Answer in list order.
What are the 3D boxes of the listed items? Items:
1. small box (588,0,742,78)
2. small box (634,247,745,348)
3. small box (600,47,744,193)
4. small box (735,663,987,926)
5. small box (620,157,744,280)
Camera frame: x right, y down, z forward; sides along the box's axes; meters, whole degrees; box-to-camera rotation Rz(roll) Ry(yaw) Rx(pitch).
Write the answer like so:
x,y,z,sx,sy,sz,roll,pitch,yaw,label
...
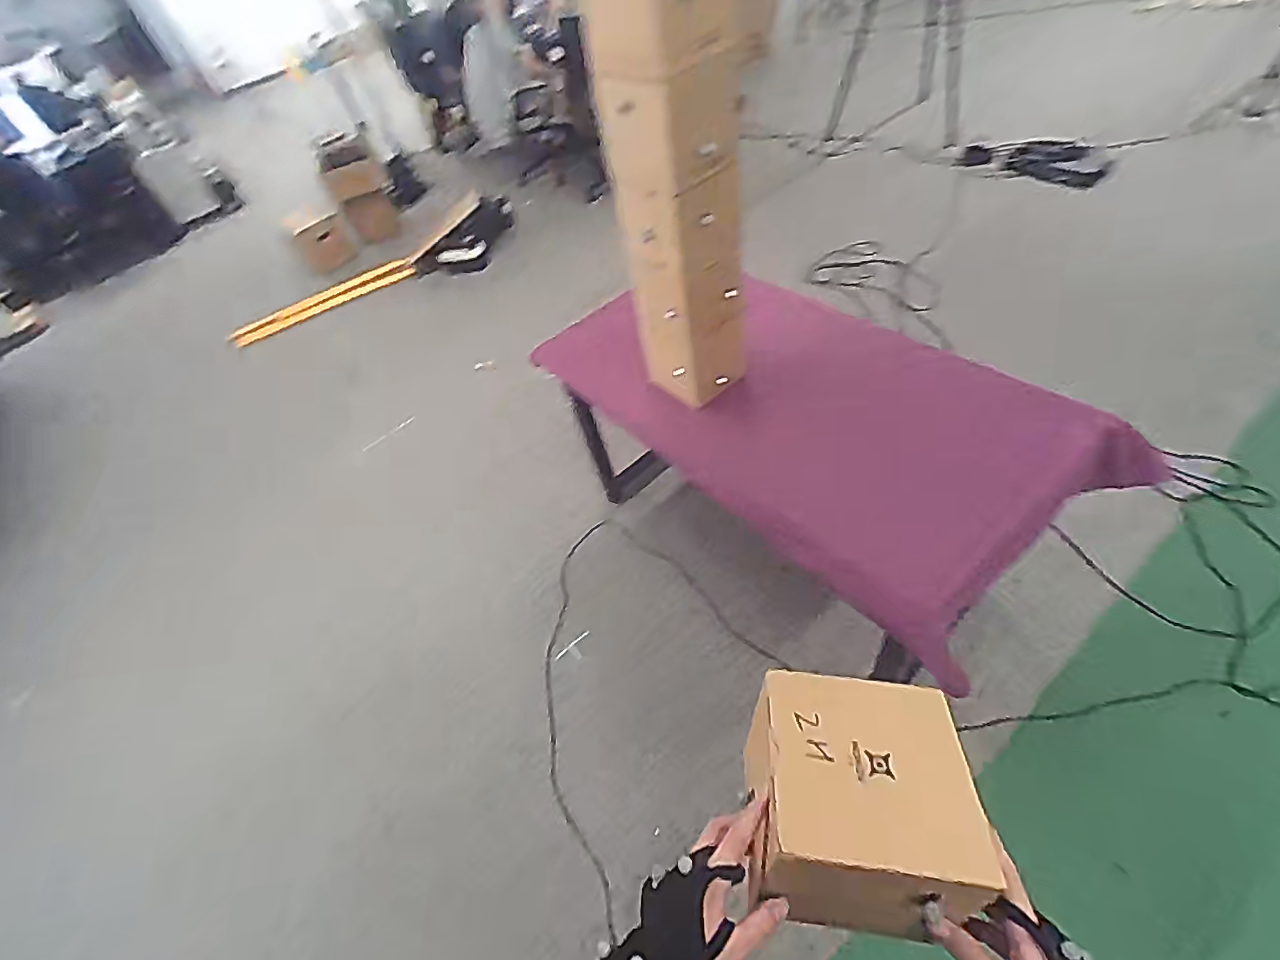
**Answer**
x,y,z,sx,sy,sz,roll,pitch,yaw,label
0.037,-0.722,0.803,0.168,0.176,0.179,-38,53,-19,small box
0.114,-0.413,1.174,0.168,0.176,0.179,-37,52,-18,small box
0.060,-0.620,0.927,0.168,0.176,0.179,-38,54,-19,small box
0.191,0.307,0.531,0.179,0.176,0.168,4,38,6,small box
0.090,-0.519,1.053,0.179,0.176,0.168,-38,53,-18,small box
